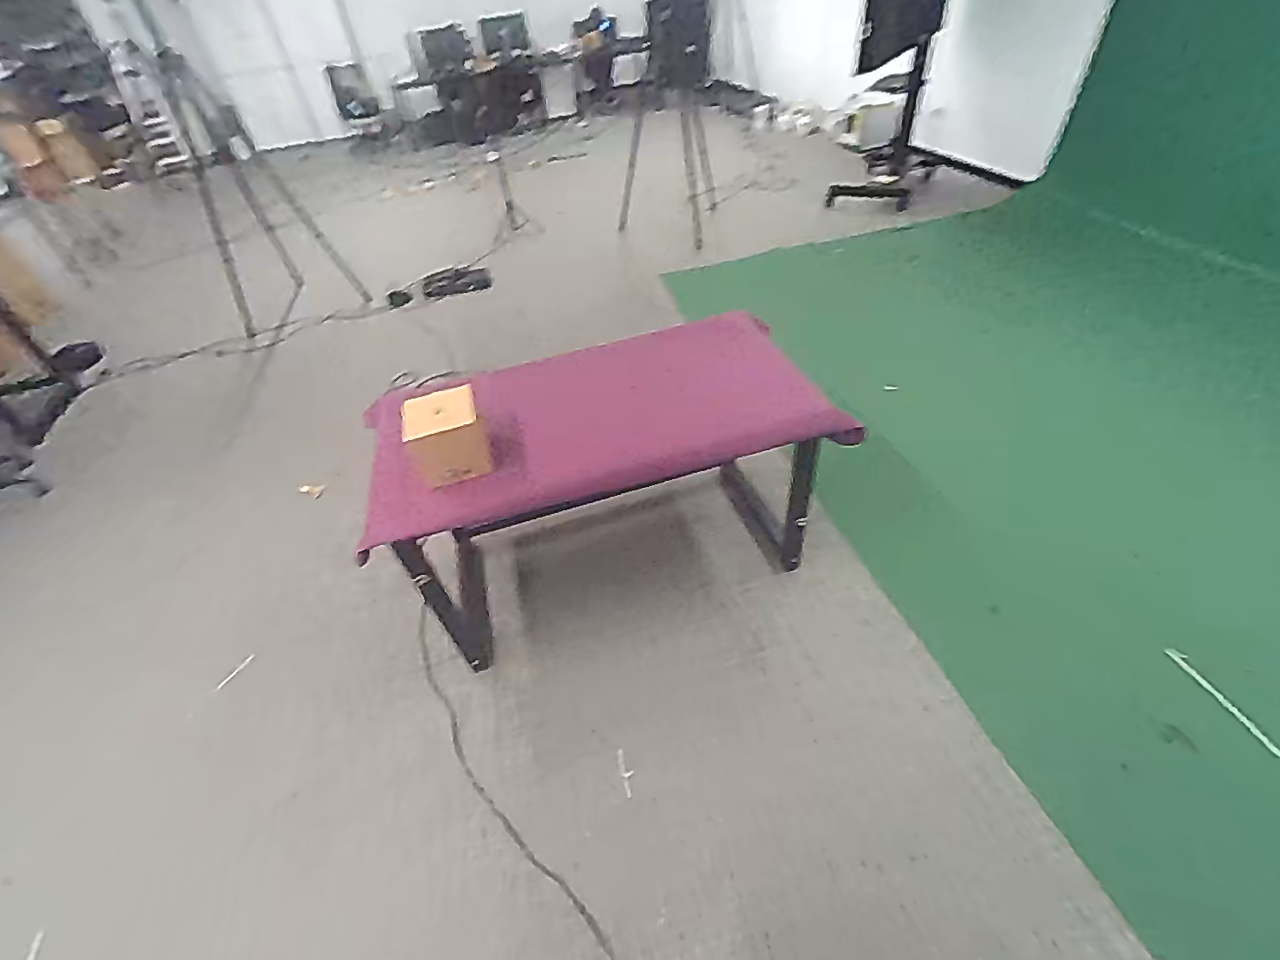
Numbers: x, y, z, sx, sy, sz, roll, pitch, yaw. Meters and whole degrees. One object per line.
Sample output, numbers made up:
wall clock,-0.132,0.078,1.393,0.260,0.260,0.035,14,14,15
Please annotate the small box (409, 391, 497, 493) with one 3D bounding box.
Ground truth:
small box,-0.473,-0.097,1.375,0.168,0.176,0.179,-17,45,-8
